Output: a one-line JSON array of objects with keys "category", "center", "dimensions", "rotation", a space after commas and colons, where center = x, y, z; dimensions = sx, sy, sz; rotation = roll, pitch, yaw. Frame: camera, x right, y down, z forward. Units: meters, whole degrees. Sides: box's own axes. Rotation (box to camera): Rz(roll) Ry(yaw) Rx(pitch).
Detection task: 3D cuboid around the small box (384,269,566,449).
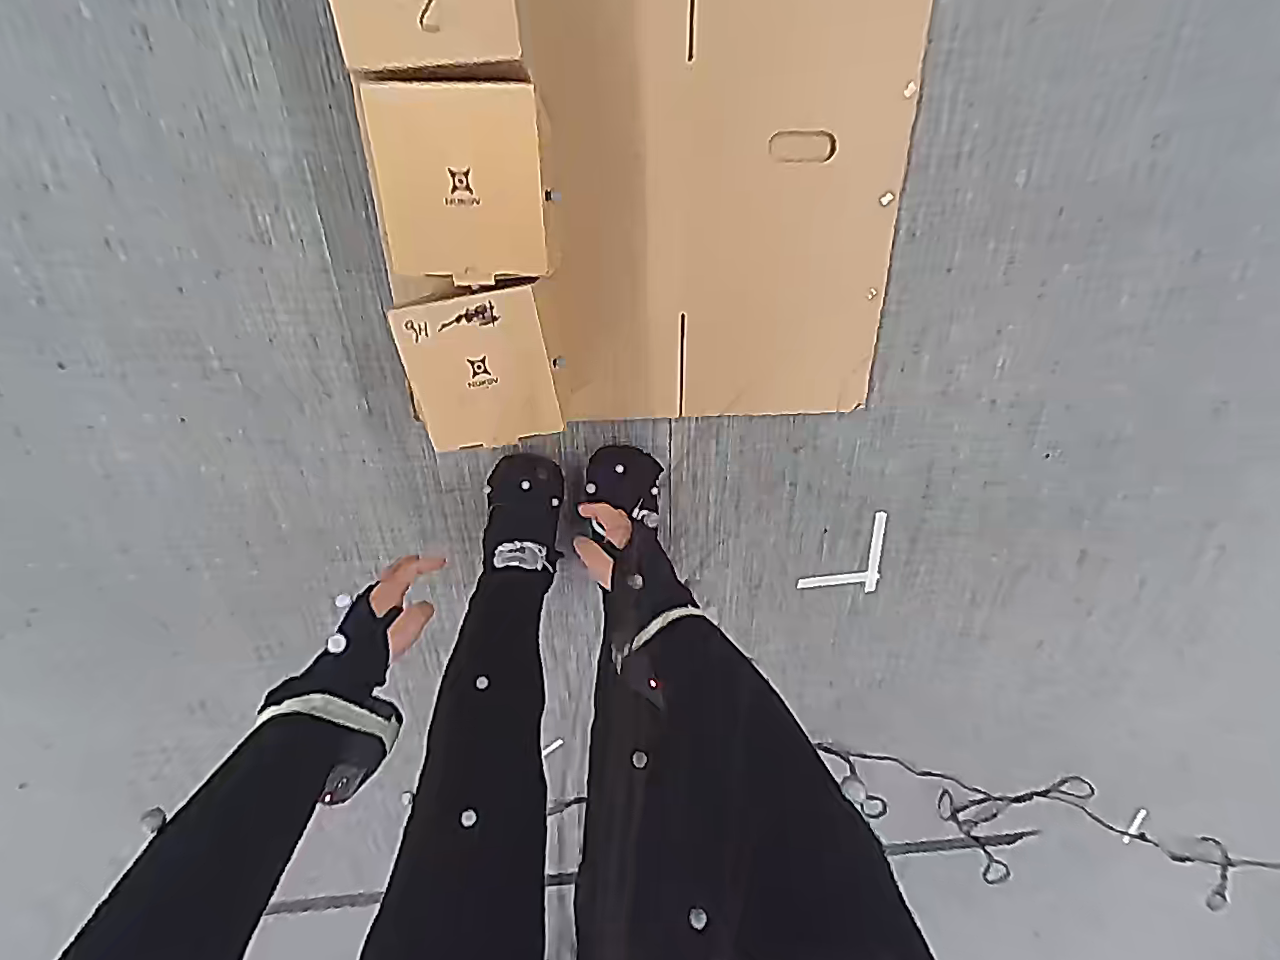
[{"category": "small box", "center": [-0.193, -0.162, 0.697], "dimensions": [0.168, 0.176, 0.179], "rotation": [-11, 116, 0]}]
